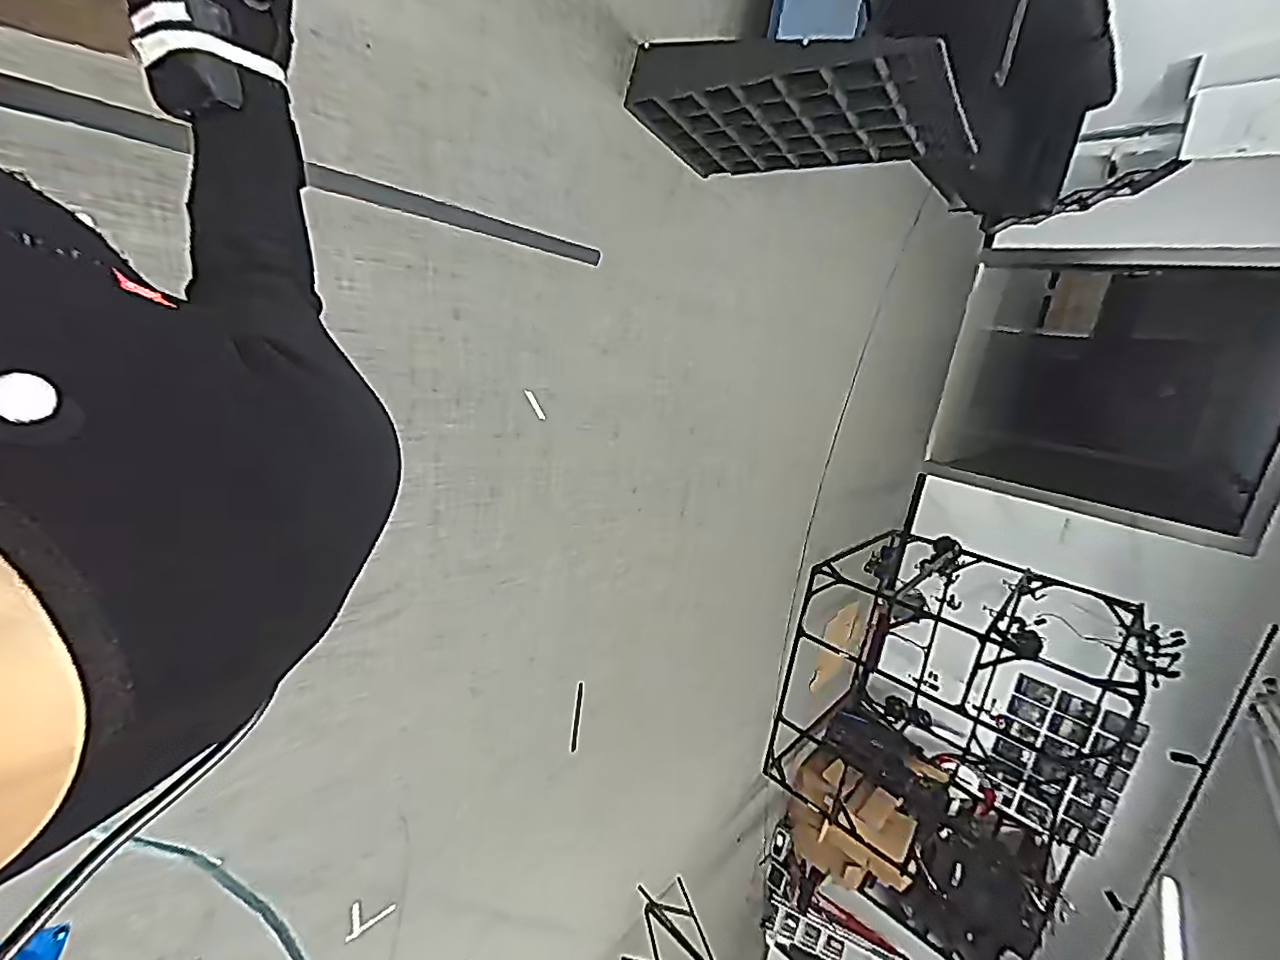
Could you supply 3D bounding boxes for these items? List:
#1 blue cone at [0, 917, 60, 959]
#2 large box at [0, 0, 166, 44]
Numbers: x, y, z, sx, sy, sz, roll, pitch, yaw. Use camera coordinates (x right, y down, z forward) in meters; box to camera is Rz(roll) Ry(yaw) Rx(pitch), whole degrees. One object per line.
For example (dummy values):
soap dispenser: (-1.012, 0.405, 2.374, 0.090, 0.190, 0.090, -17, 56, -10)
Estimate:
blue cone: (-1.335, 1.143, 1.107, 0.193, 0.380, 0.192, 25, 87, -52)
large box: (-0.541, -0.490, 0.269, 0.408, 0.320, 0.320, -17, 124, -46)
